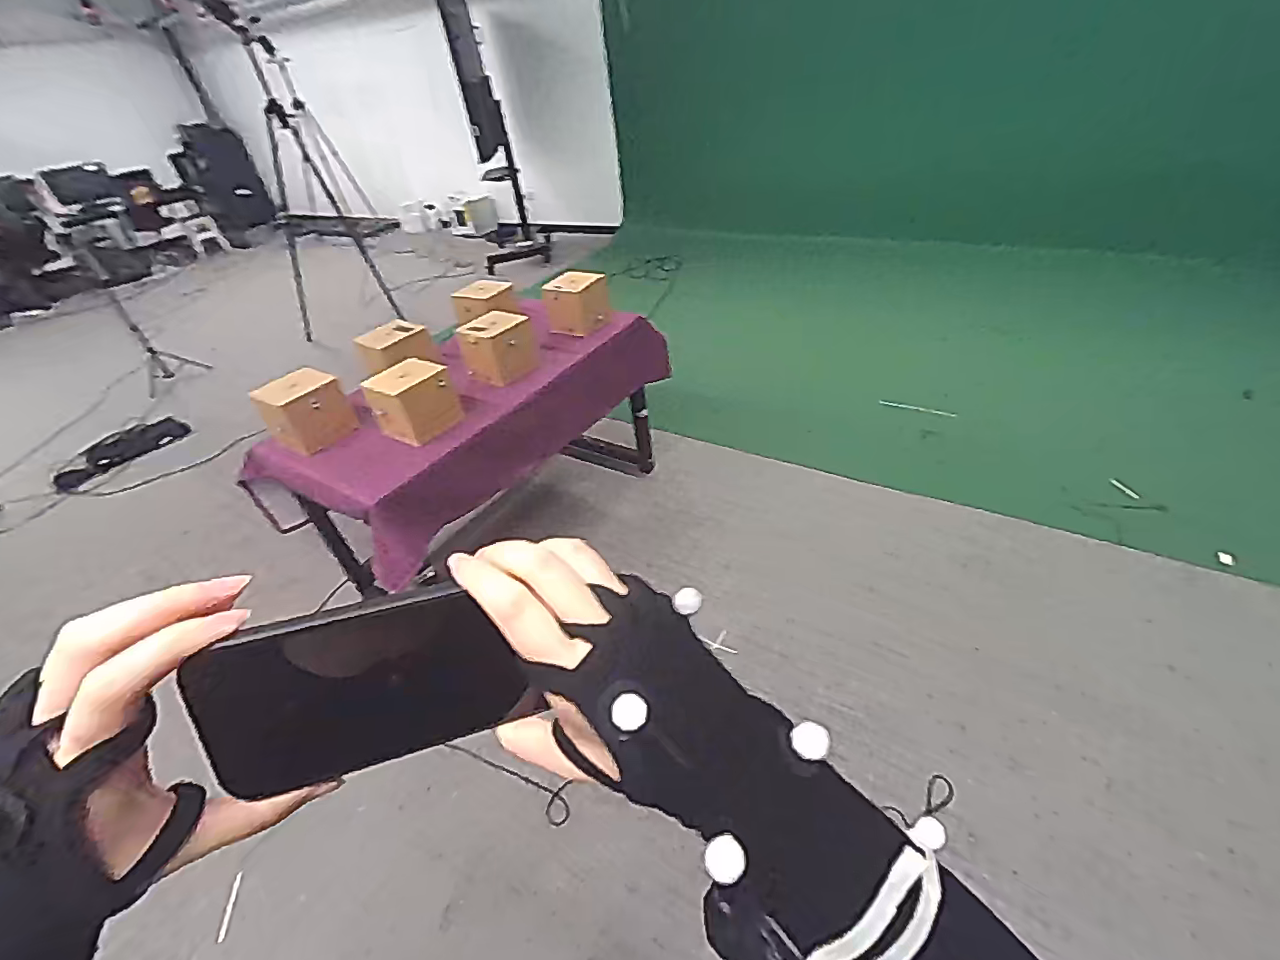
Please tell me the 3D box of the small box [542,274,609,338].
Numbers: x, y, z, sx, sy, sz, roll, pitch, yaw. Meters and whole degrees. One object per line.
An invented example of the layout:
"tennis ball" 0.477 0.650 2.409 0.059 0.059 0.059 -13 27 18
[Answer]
"small box" -0.229 -0.639 1.980 0.168 0.176 0.179 16 44 29

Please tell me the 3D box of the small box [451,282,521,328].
"small box" -0.571 -0.628 2.029 0.179 0.176 0.168 16 45 27

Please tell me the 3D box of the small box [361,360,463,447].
"small box" -0.635 -0.216 1.524 0.168 0.176 0.179 18 44 30

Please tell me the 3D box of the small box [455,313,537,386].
"small box" -0.457 -0.422 1.750 0.168 0.176 0.179 20 45 31
